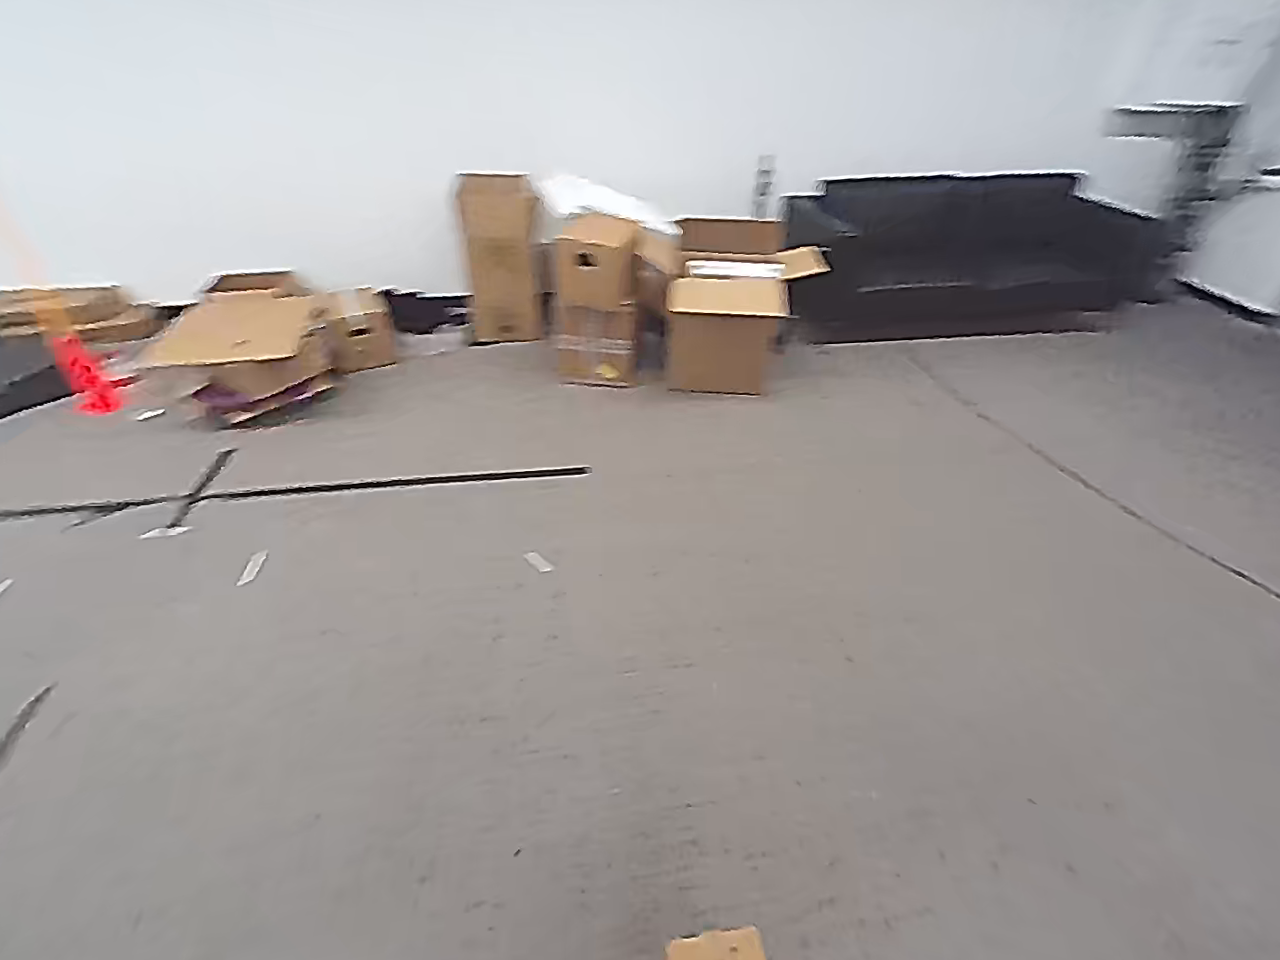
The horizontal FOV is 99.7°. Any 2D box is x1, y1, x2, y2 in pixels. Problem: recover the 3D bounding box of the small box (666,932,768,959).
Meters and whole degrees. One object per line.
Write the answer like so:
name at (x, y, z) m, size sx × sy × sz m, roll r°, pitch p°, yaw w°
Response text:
small box at (0.138, 0.902, 0.912) m, size 0.168 × 0.176 × 0.179 m, roll -3°, pitch 39°, yaw -7°
